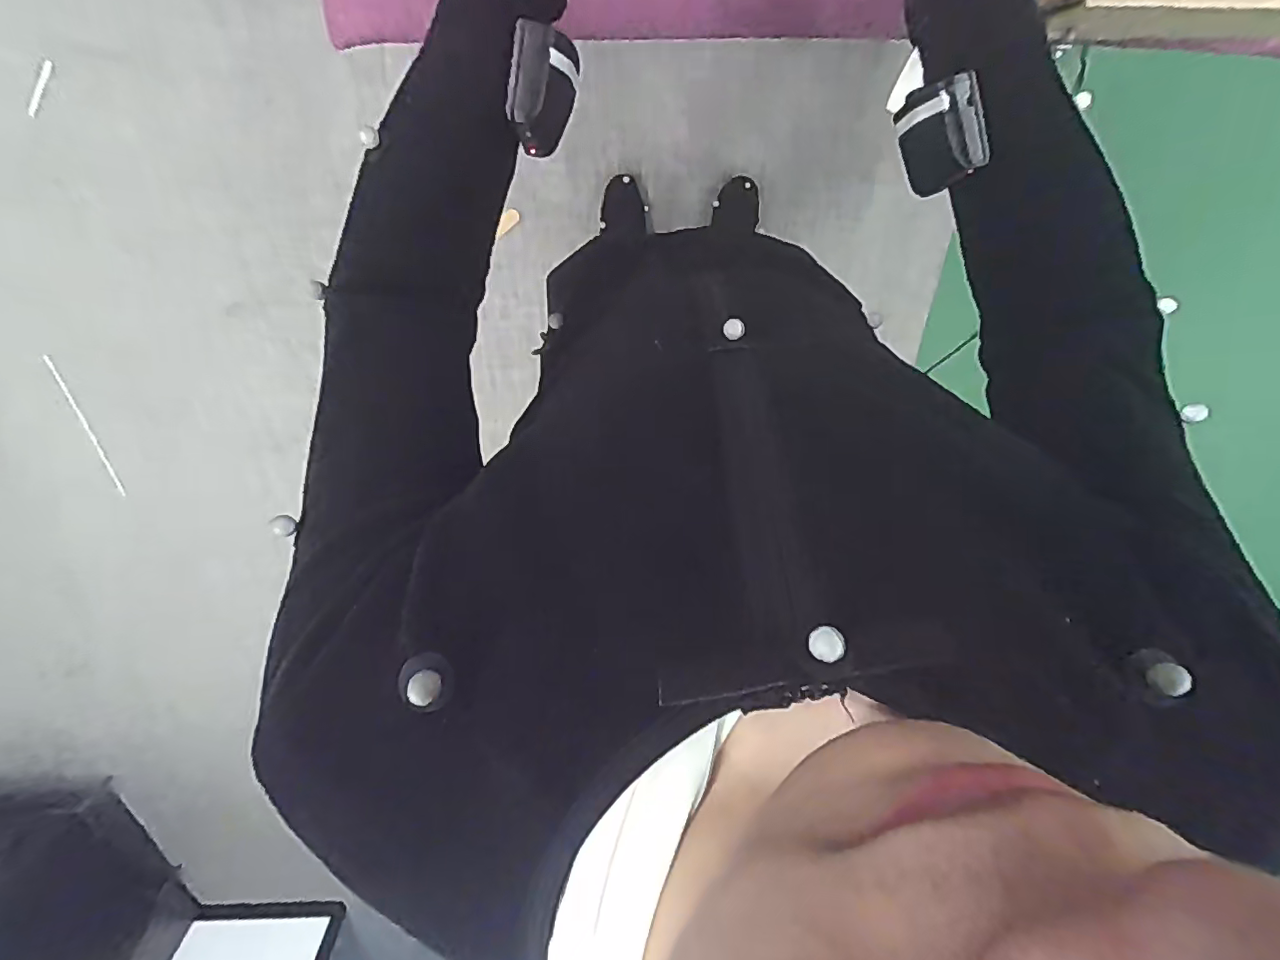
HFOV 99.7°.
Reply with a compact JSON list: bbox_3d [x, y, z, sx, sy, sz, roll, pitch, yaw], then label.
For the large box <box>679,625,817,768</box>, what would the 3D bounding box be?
[{"bbox_3d":[0.410,0.843,2.119,0.408,0.320,0.320,-29,118,13],"label":"large box"}]
